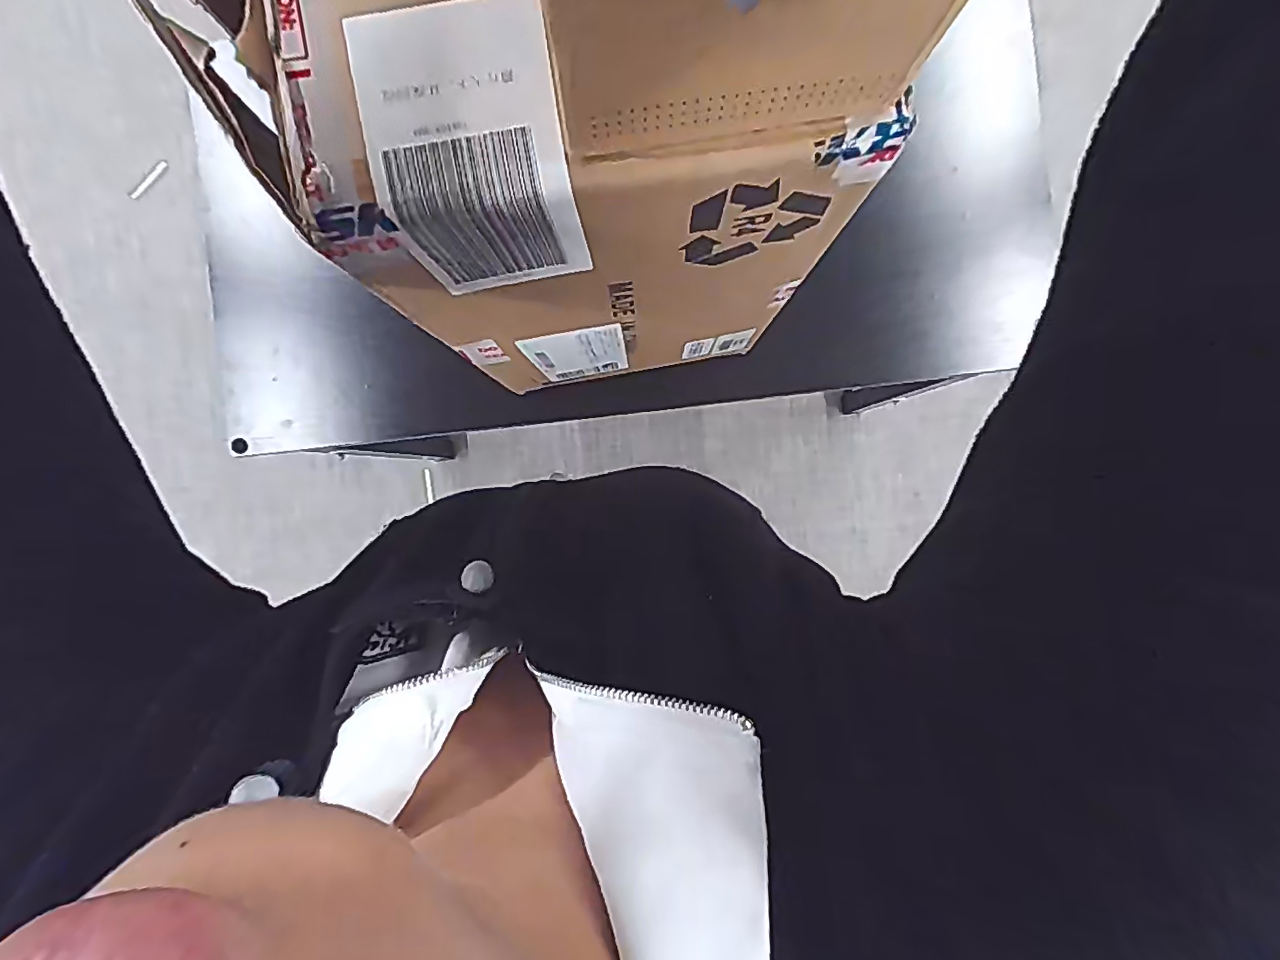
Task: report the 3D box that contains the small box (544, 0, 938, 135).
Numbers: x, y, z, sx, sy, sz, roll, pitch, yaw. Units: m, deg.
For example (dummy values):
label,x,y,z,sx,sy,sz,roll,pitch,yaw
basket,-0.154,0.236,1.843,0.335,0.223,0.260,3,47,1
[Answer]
label,x,y,z,sx,sy,sz,roll,pitch,yaw
small box,0.037,-0.268,0.206,0.179,0.176,0.168,-10,92,0
